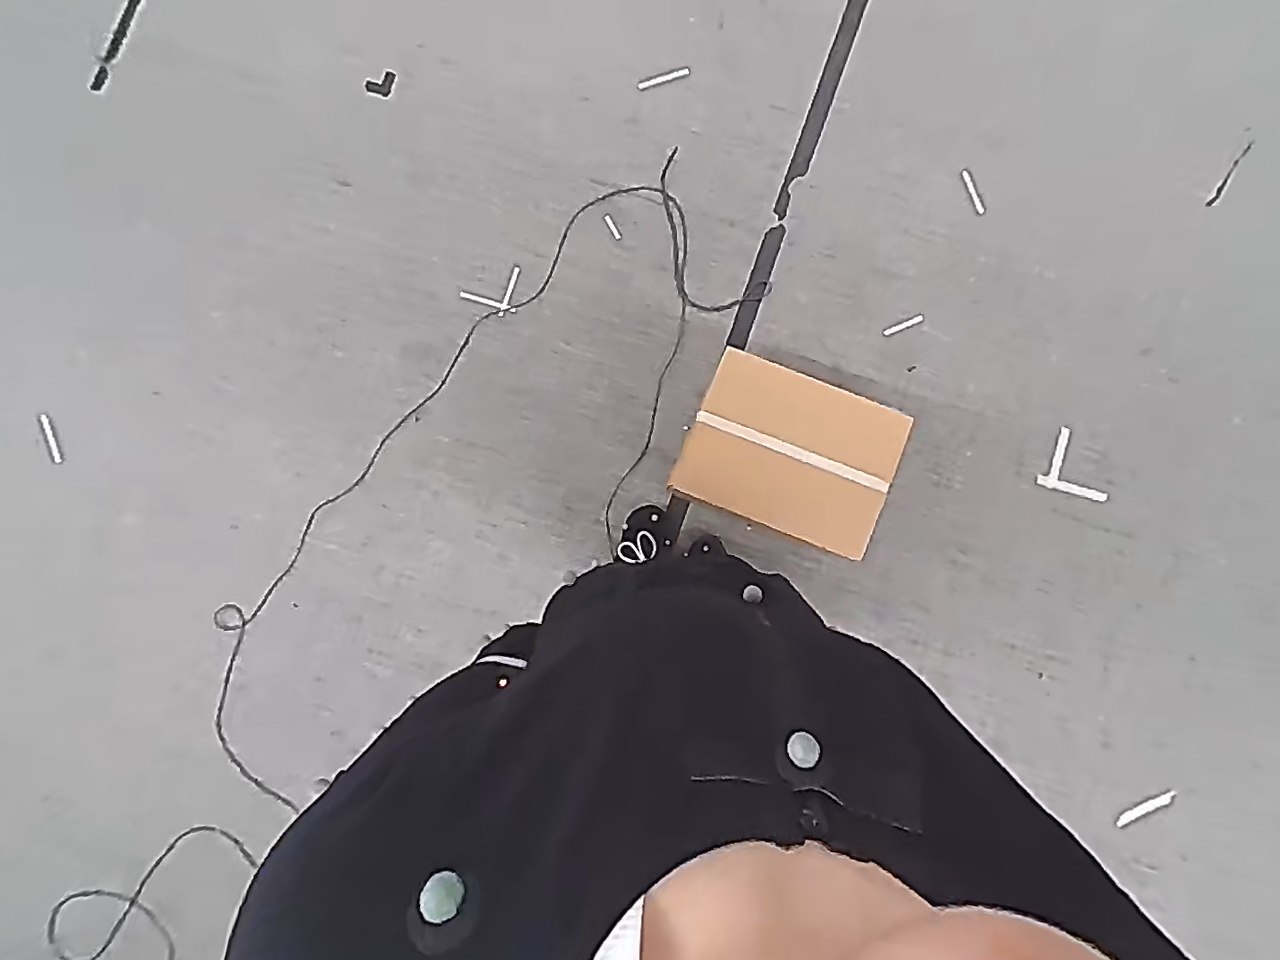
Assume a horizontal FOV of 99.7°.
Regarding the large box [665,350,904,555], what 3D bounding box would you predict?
[{"bbox_3d":[0.297,-0.050,1.240,0.408,0.320,0.320,22,88,2],"label":"large box"}]
